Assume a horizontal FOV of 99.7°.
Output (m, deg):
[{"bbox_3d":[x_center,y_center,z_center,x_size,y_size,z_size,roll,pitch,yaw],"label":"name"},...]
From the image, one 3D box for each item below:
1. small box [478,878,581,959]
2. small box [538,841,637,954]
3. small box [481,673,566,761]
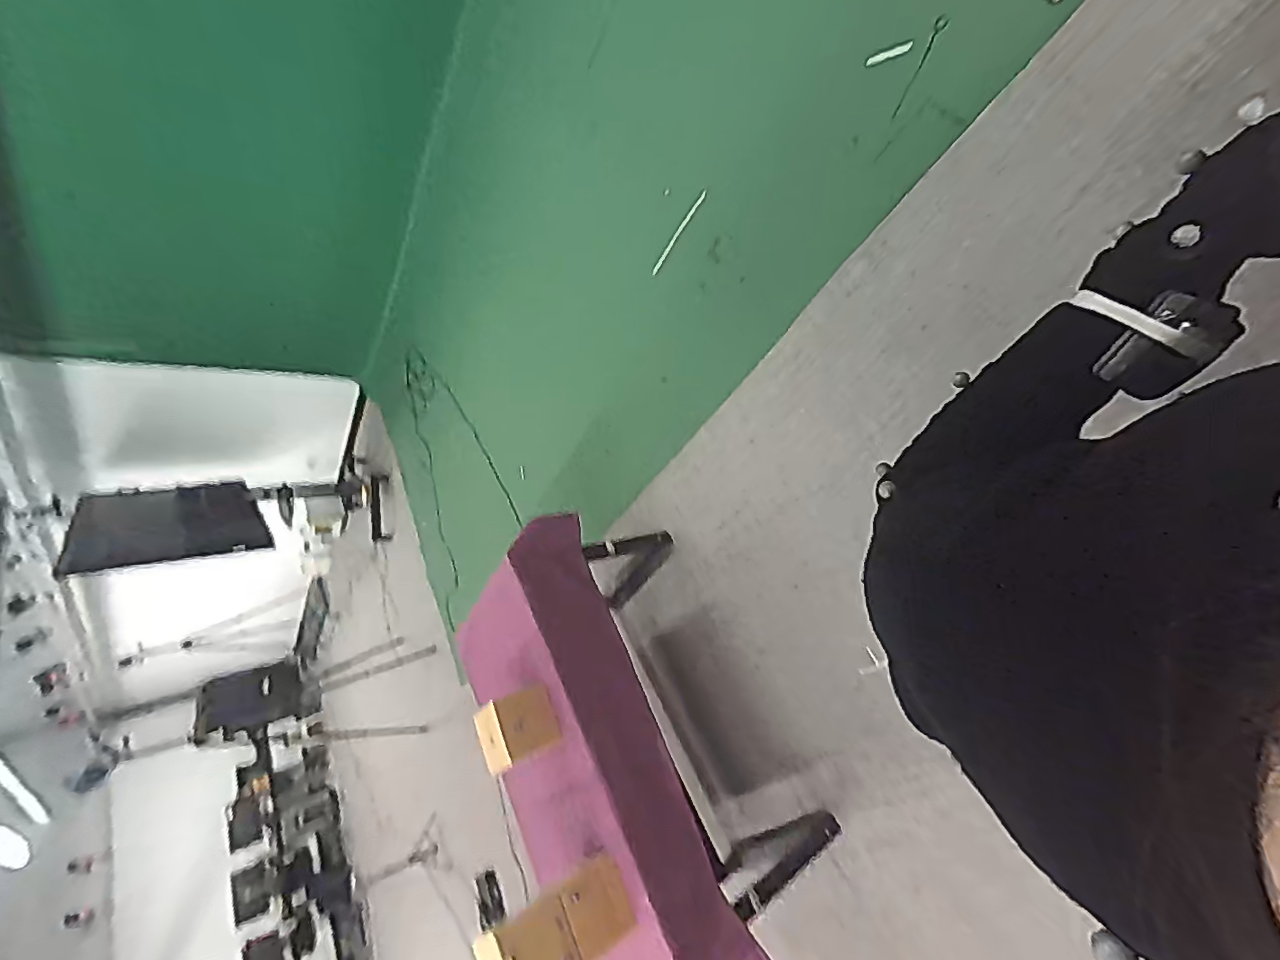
[{"bbox_3d":[-0.260,1.087,1.290,0.179,0.176,0.168,-52,55,40],"label":"small box"},{"bbox_3d":[-0.133,1.074,1.394,0.168,0.176,0.179,-51,56,39],"label":"small box"},{"bbox_3d":[-0.344,0.699,1.603,0.168,0.176,0.179,-46,60,41],"label":"small box"}]
